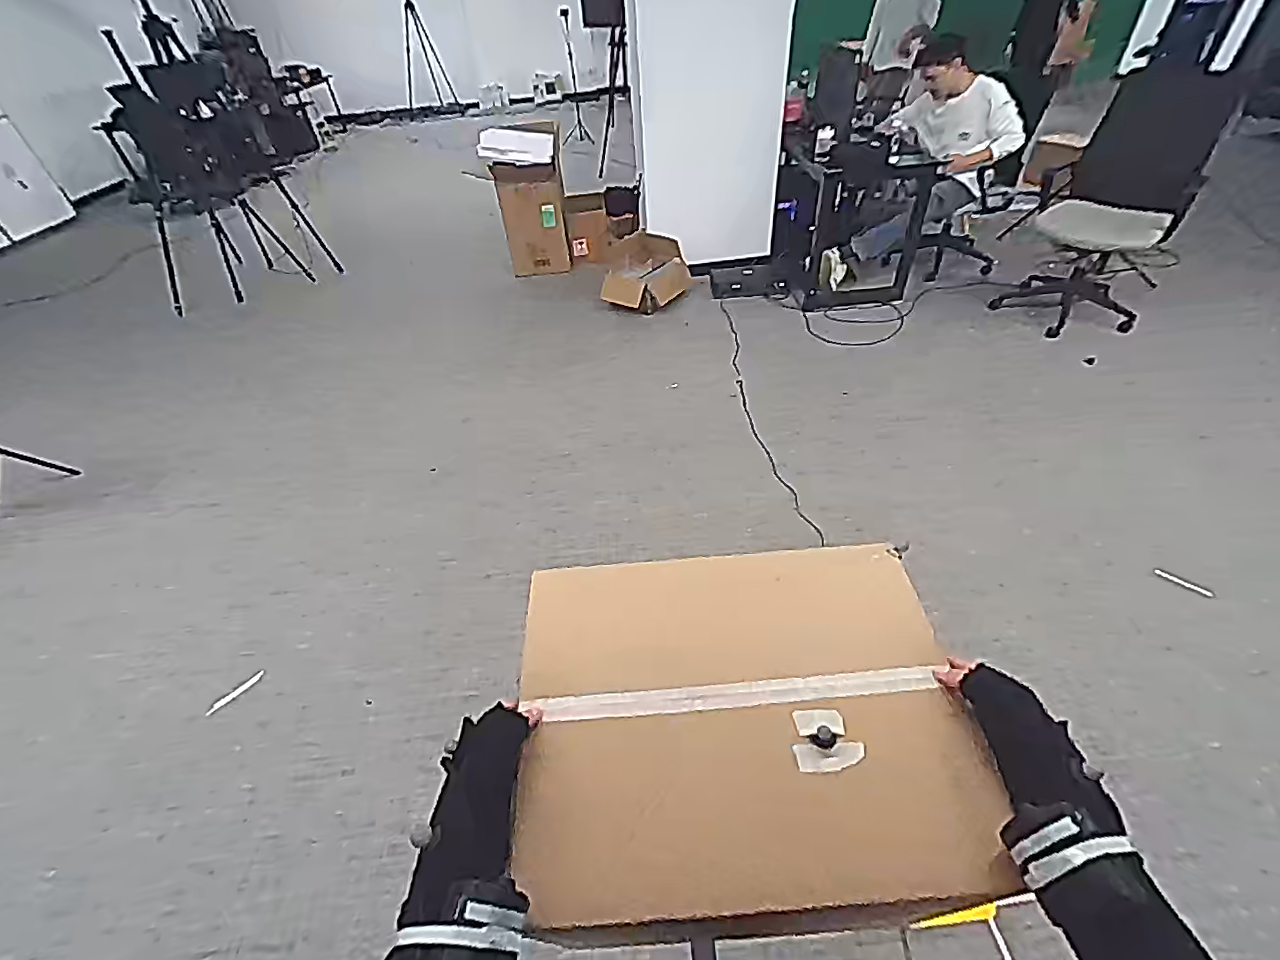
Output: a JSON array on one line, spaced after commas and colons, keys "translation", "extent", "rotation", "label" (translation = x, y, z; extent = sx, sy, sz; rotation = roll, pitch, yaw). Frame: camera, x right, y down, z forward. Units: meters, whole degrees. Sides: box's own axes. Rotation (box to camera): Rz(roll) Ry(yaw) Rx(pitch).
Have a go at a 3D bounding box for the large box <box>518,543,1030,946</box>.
[{"translation": [0.099, 0.301, 0.617], "extent": [0.408, 0.320, 0.320], "rotation": [-5, 47, 0], "label": "large box"}]
